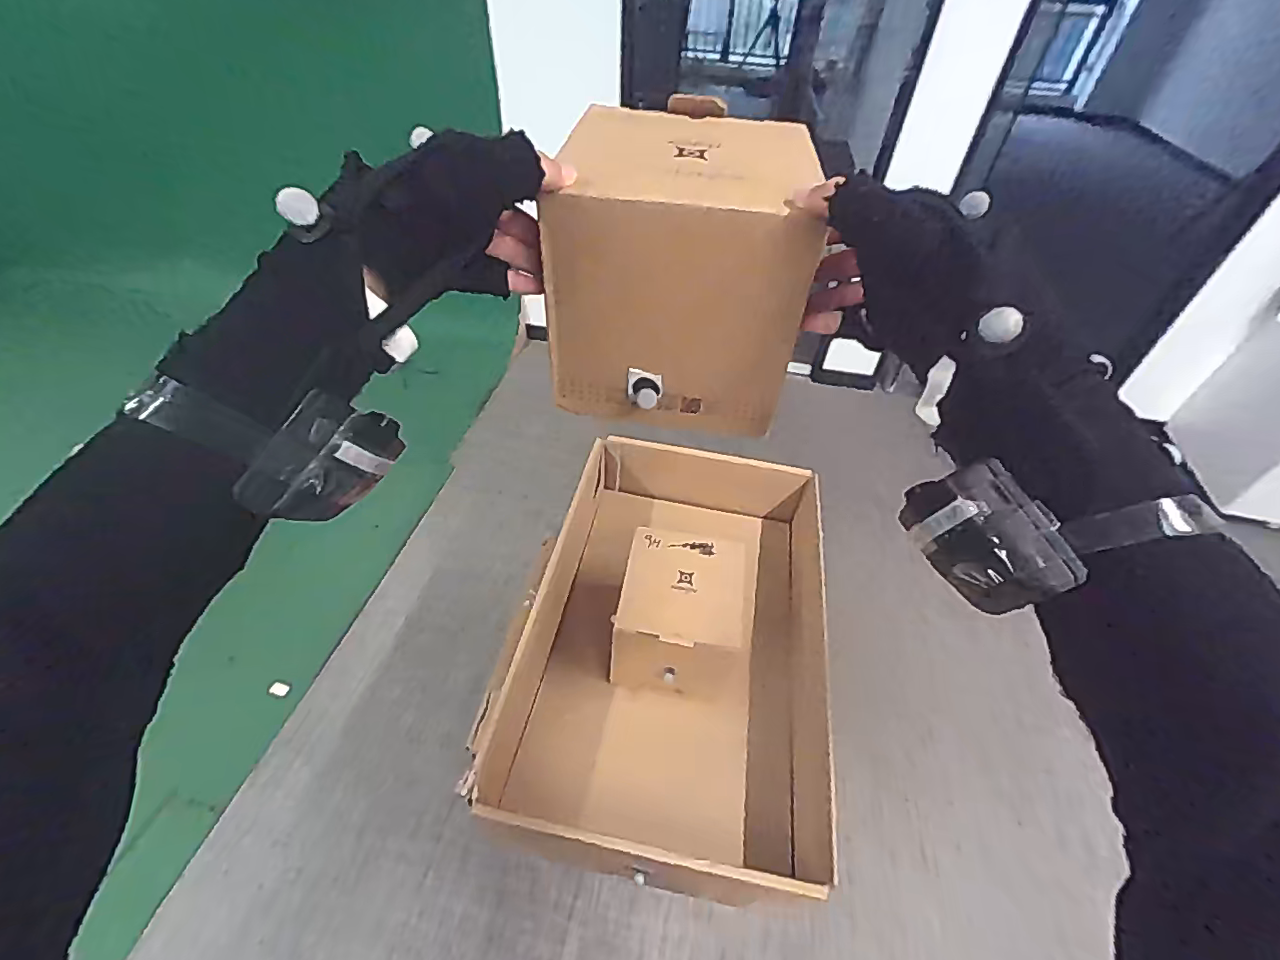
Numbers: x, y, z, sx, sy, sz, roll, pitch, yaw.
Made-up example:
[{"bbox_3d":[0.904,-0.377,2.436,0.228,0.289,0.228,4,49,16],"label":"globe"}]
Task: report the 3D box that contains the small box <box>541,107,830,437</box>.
[{"bbox_3d":[0.028,-0.158,0.414,0.168,0.176,0.179,6,48,2],"label":"small box"}]
